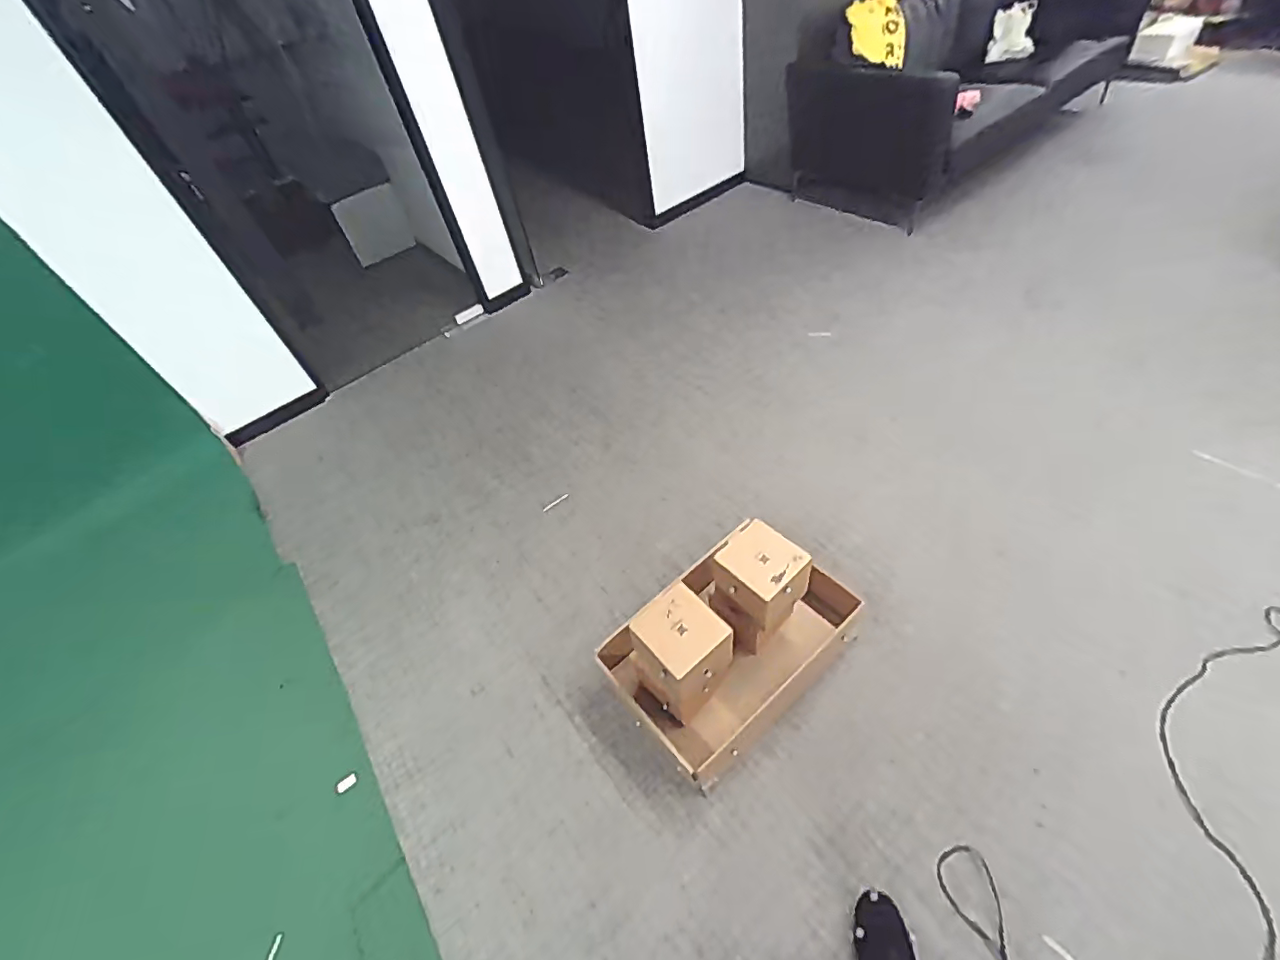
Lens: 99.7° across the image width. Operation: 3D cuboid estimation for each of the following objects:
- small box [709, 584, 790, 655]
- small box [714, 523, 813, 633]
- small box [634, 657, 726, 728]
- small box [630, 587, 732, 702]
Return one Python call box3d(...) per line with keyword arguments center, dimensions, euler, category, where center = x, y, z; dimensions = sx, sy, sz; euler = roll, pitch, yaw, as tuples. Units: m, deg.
box3d(center=(0.310, 0.346, 1.491), dimensions=(0.179, 0.176, 0.168), euler=(-39, 55, -24), category="small box")
box3d(center=(0.307, 0.249, 1.359), dimensions=(0.168, 0.176, 0.179), euler=(-37, 52, -20), category="small box")
box3d(center=(0.110, 0.501, 1.394), dimensions=(0.179, 0.176, 0.168), euler=(-38, 54, -23), category="small box")
box3d(center=(0.101, 0.393, 1.271), dimensions=(0.168, 0.176, 0.179), euler=(-35, 52, -20), category="small box")
